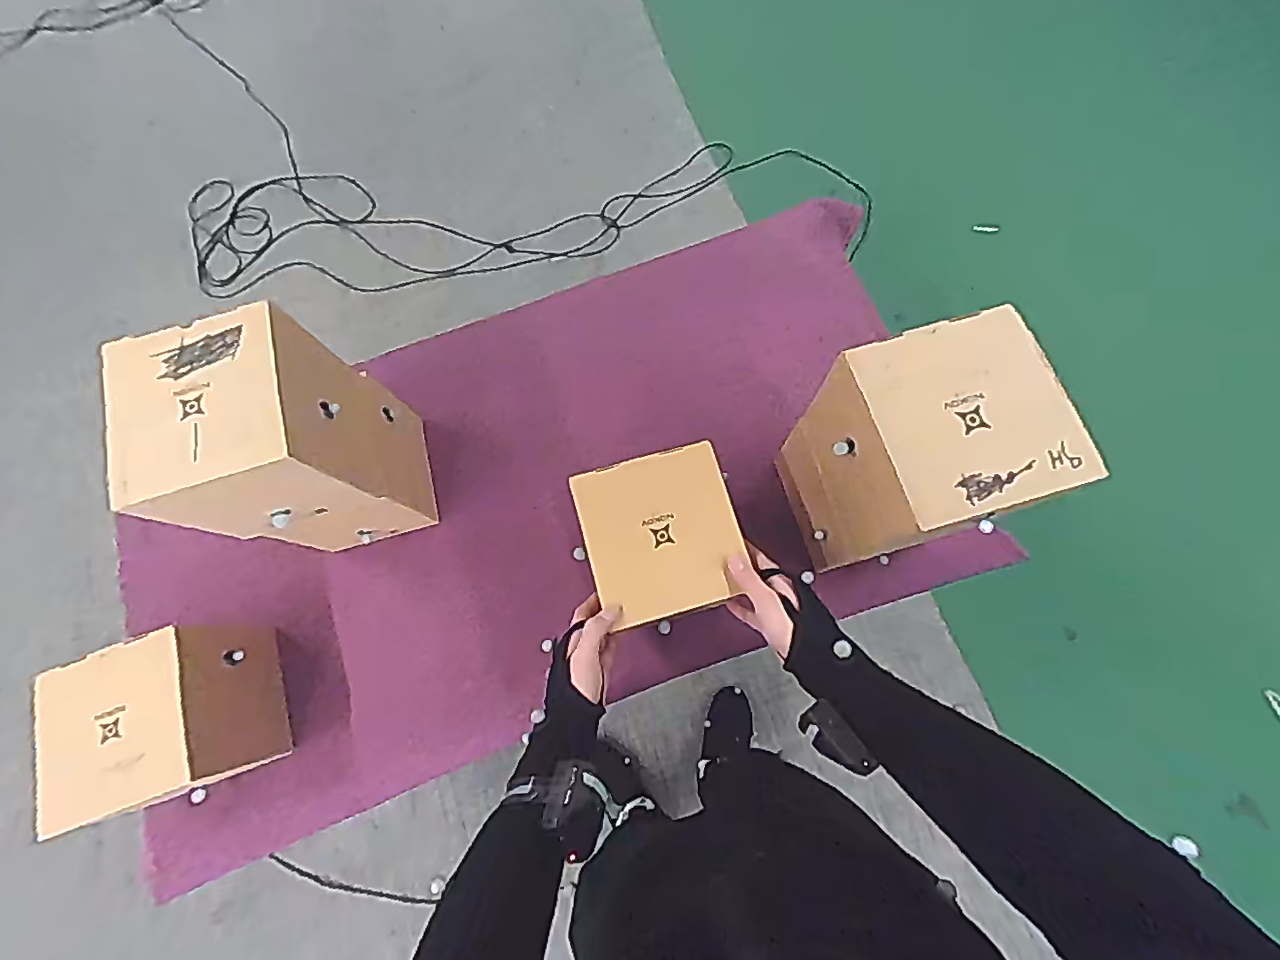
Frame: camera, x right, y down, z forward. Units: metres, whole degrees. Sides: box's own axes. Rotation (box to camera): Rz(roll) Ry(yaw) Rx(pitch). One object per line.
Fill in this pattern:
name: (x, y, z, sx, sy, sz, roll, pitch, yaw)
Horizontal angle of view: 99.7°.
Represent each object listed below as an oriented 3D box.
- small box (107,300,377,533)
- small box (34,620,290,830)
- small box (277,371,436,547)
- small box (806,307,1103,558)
small box: (-0.413, -0.057, 0.584, 0.168, 0.176, 0.179, -17, 75, -2)
small box: (-0.573, 0.286, 0.667, 0.168, 0.176, 0.179, -20, 74, -2)
small box: (-0.402, -0.020, 0.744, 0.168, 0.176, 0.179, -15, 75, -1)
small box: (0.285, -0.035, 0.542, 0.168, 0.176, 0.179, -16, 73, 0)
